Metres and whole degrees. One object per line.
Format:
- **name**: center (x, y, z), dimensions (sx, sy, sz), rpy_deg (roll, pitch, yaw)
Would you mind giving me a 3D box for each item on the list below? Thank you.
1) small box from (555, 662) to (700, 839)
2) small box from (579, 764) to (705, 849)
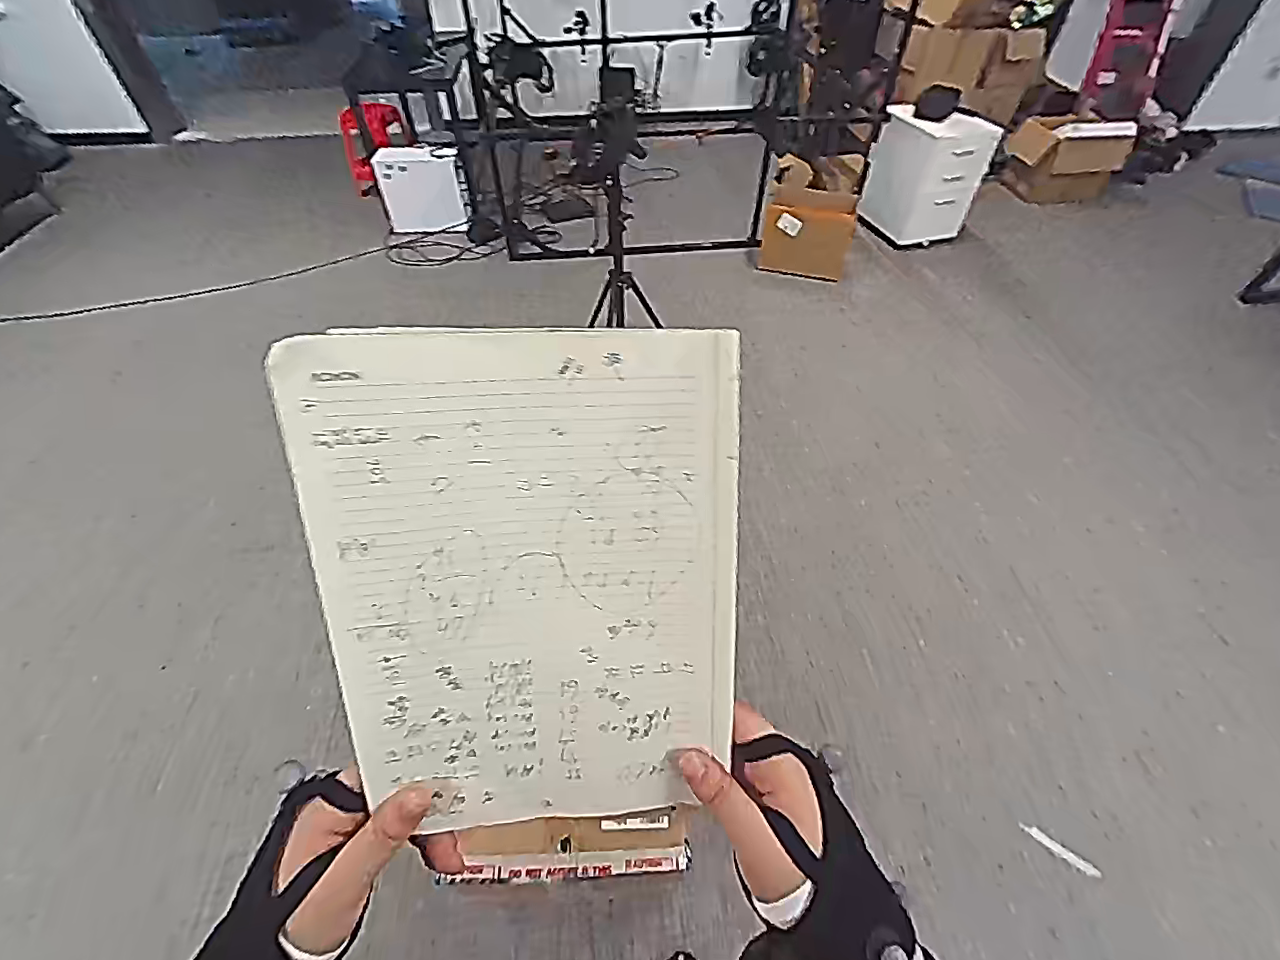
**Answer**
- **small box**: center (-0.018, 0.359, 0.715), dimensions (0.168, 0.176, 0.179), rpy_deg (1, 50, -2)
- **small box**: center (-0.006, 0.464, 0.843), dimensions (0.179, 0.176, 0.168), rpy_deg (-2, 49, -4)
